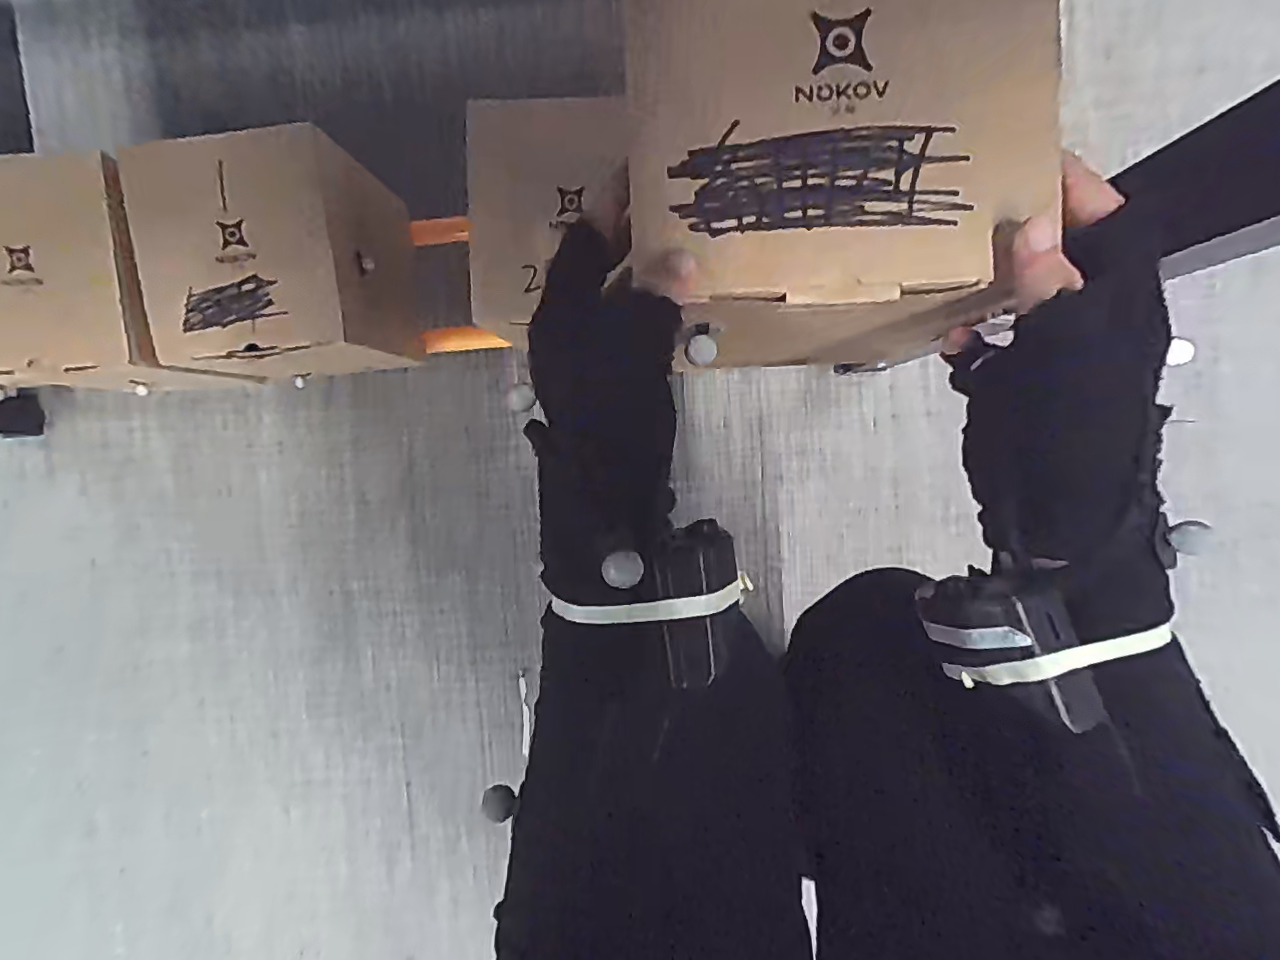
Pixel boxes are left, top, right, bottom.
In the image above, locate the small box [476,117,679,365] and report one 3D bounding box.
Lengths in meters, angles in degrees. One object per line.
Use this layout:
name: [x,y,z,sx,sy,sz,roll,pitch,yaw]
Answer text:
small box: [-0.049,-0.210,0.520,0.168,0.176,0.179,1,96,3]
